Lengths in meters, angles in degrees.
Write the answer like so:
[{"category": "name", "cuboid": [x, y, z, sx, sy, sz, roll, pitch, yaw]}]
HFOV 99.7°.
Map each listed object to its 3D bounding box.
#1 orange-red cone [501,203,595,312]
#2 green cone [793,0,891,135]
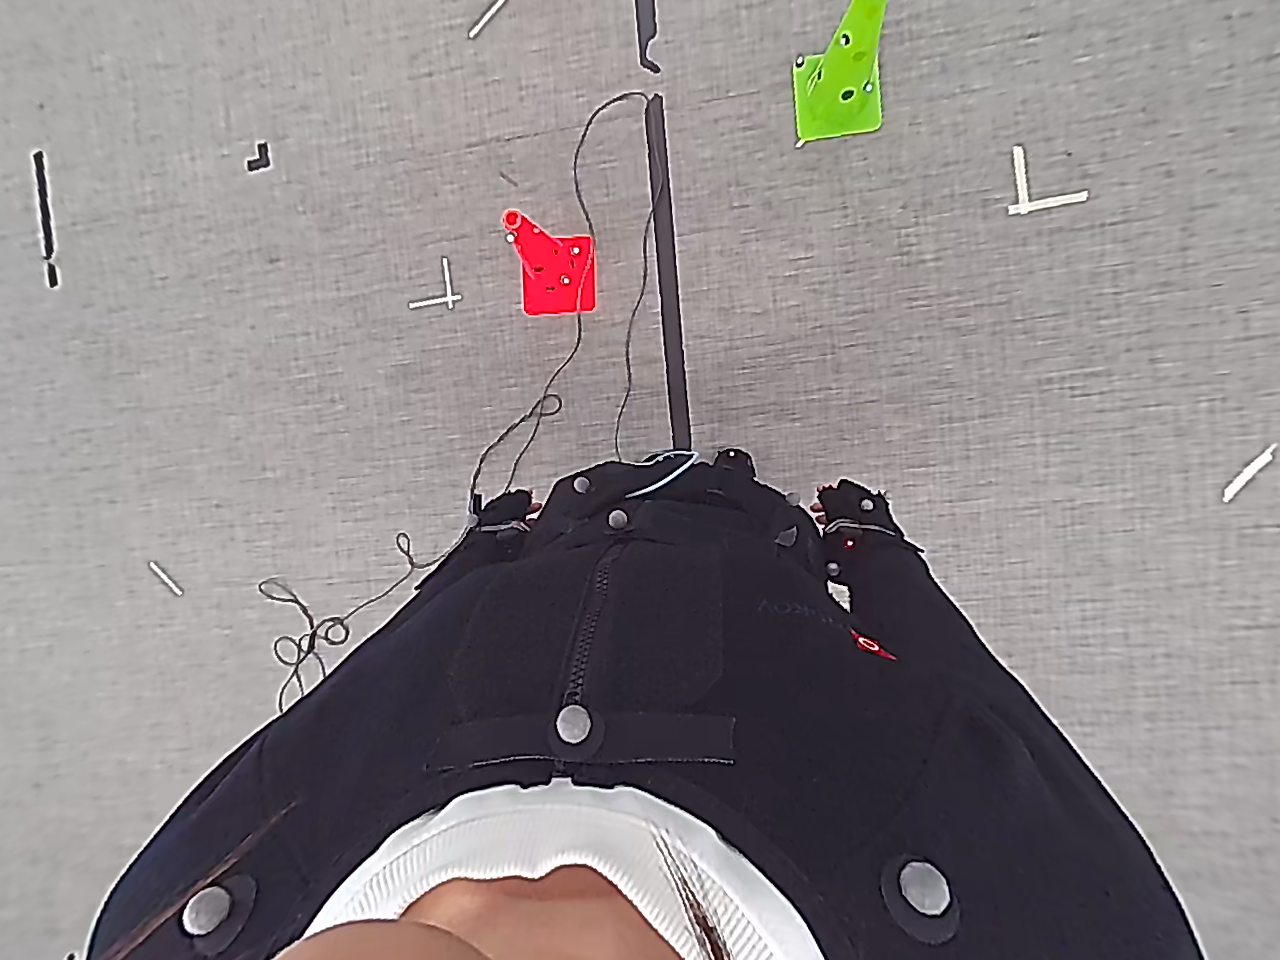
[{"category": "orange-red cone", "cuboid": [-0.240, -0.542, 1.258, 0.199, 0.360, 0.198, 0, 92, 8]}, {"category": "green cone", "cuboid": [0.461, -0.940, 1.144, 0.202, 0.368, 0.200, -5, 93, 6]}]
